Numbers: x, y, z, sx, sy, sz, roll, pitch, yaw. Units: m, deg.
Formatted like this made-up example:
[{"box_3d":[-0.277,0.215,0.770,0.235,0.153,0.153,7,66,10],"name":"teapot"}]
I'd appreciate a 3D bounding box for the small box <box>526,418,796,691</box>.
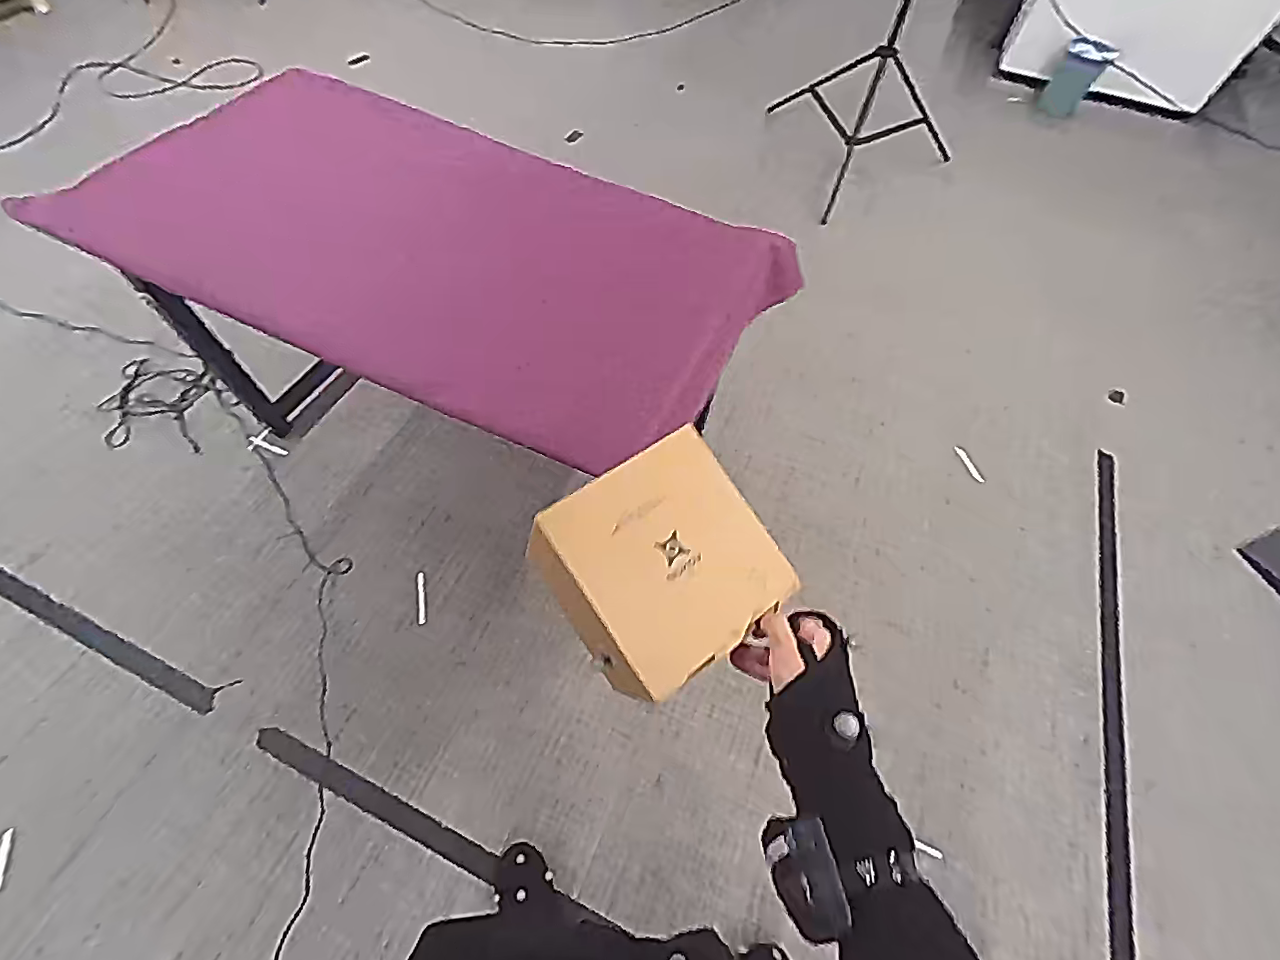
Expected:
[{"box_3d":[0.006,0.075,0.522,0.168,0.176,0.179,-32,82,-23],"name":"small box"}]
